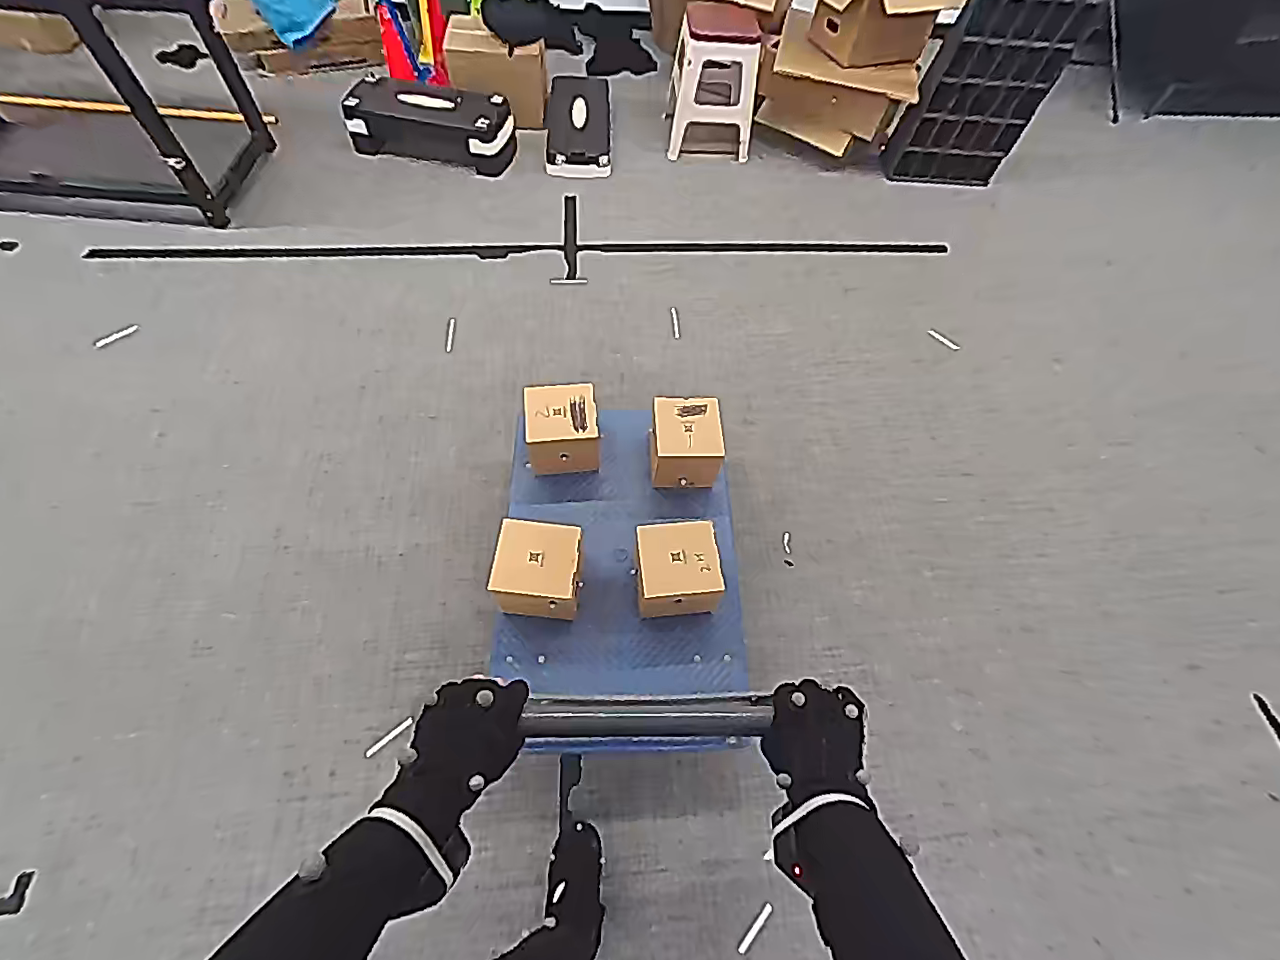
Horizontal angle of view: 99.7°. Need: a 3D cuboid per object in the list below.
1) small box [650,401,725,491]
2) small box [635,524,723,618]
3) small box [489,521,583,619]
[{"bbox_3d":[0.117,-0.086,1.411,0.168,0.176,0.179,0,62,-4],"label":"small box"},{"bbox_3d":[0.080,0.214,1.245,0.179,0.176,0.168,-3,62,-6],"label":"small box"},{"bbox_3d":[-0.226,0.209,1.226,0.179,0.176,0.168,7,61,-2],"label":"small box"}]
